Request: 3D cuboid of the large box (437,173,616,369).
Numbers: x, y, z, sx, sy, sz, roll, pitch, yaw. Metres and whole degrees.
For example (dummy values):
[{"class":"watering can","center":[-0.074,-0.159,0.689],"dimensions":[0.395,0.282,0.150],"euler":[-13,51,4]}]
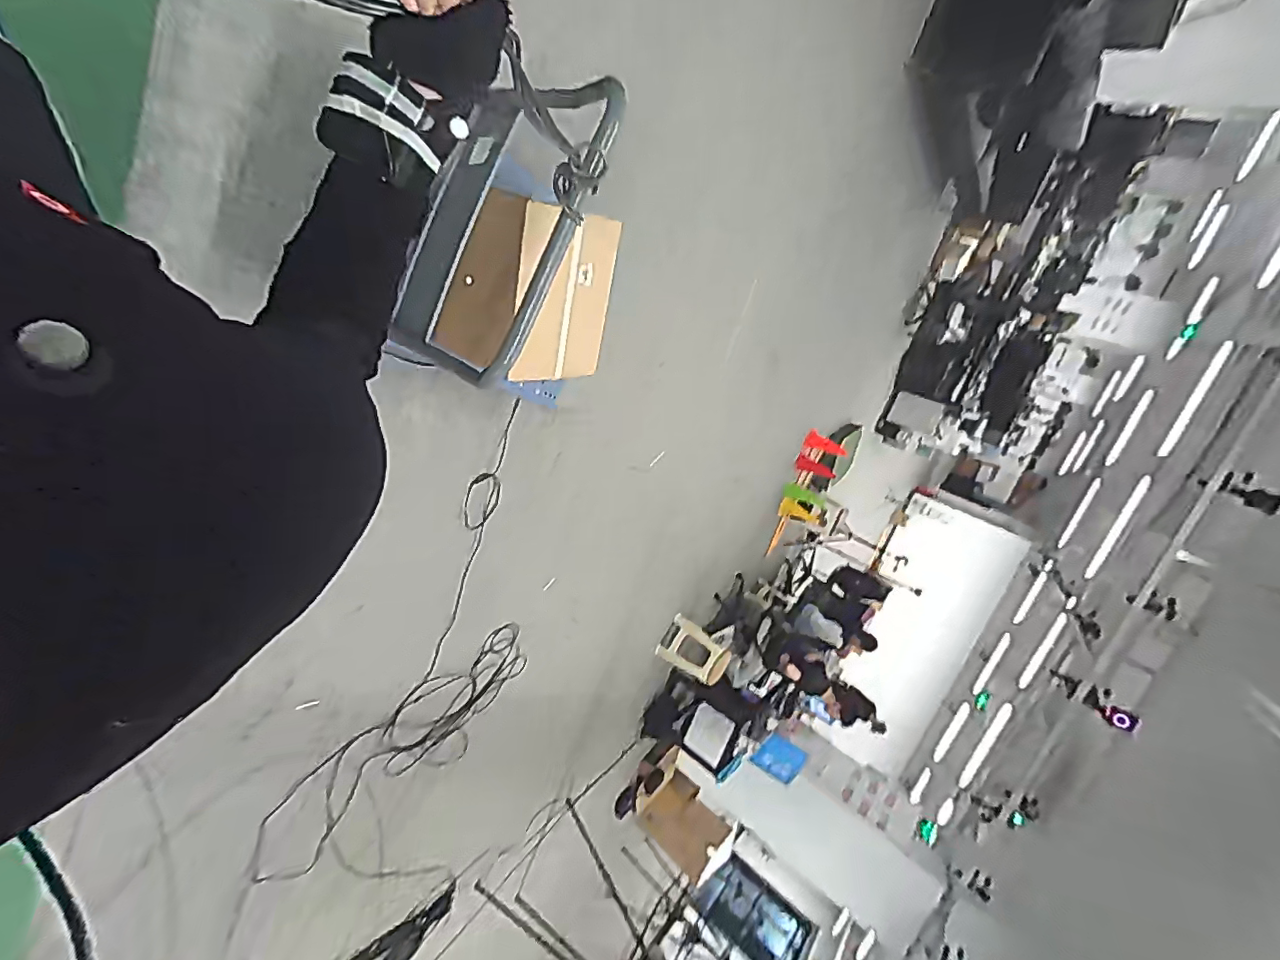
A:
[{"class":"large box","center":[-0.306,-0.534,1.414],"dimensions":[0.320,0.320,0.408],"euler":[-18,128,-50]}]
